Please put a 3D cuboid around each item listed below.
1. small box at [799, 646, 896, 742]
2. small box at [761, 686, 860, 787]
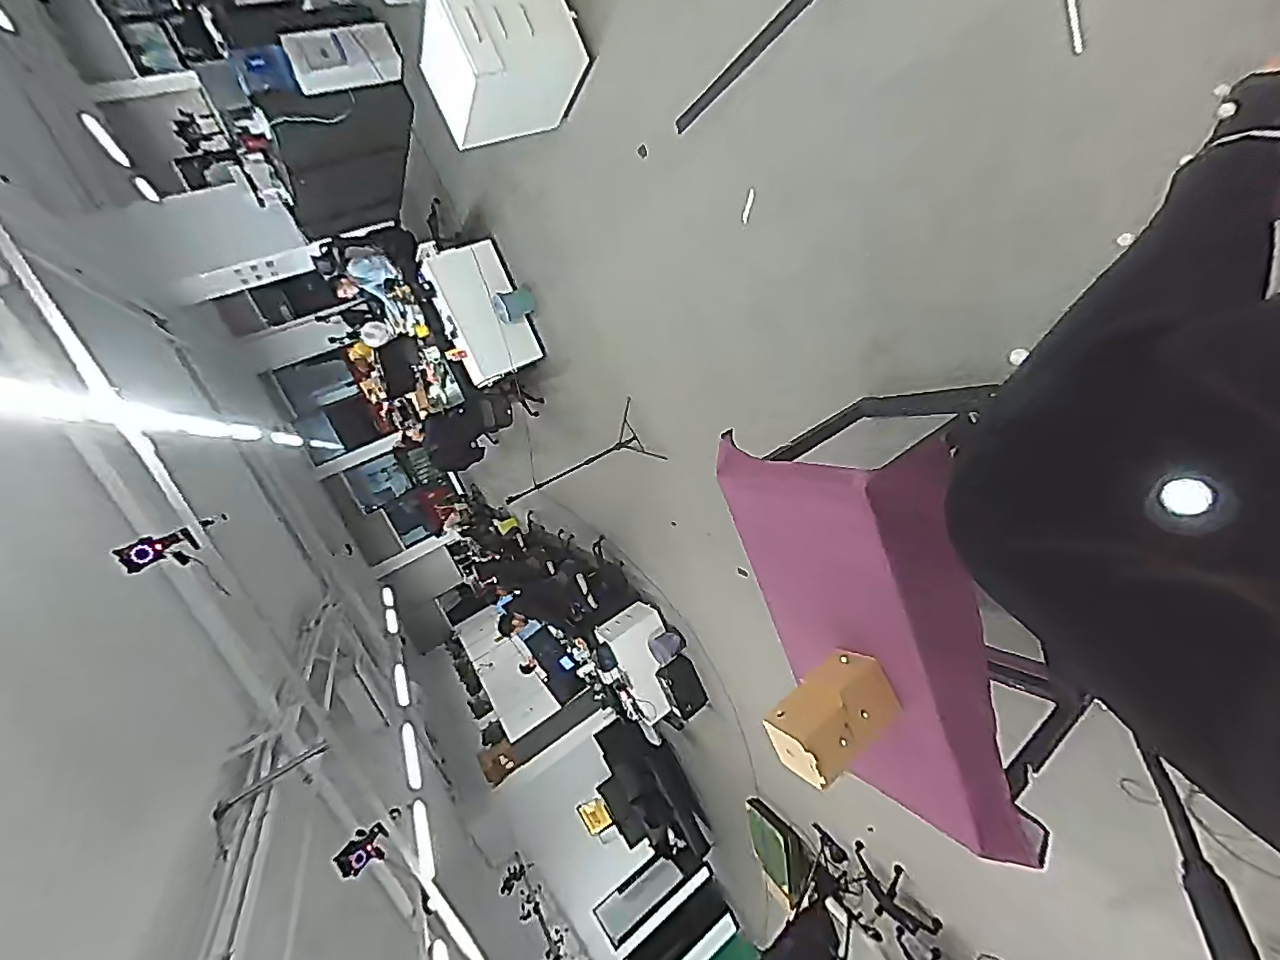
[{"bbox_3d":[0.608,0.619,1.582,0.179,0.176,0.168,63,157,-4],"label":"small box"},{"bbox_3d":[0.481,0.713,1.529,0.168,0.176,0.179,64,157,-10],"label":"small box"}]
